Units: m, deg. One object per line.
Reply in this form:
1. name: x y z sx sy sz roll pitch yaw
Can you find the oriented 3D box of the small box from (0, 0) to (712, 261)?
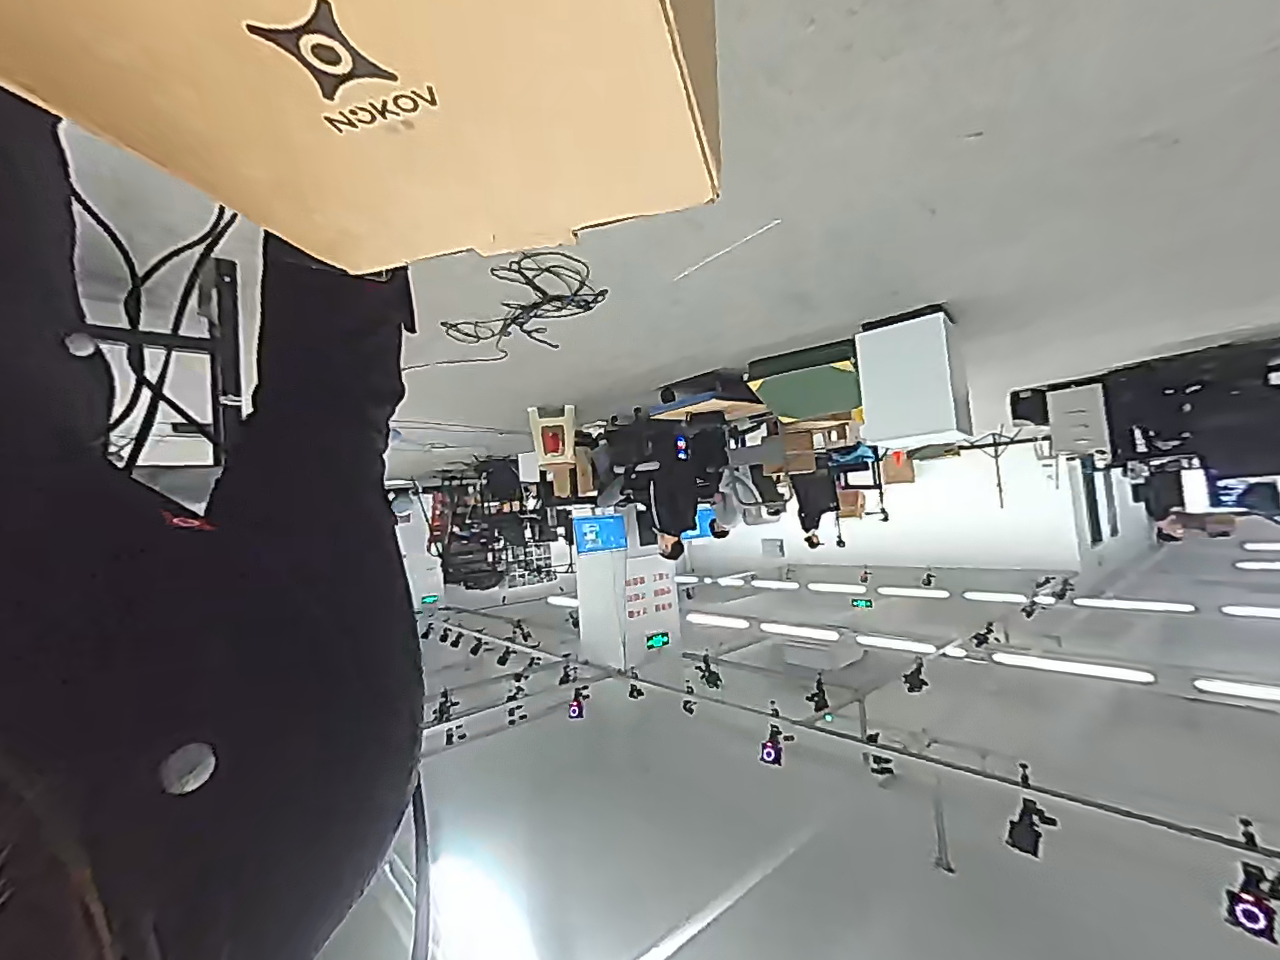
1. small box: -0.079 -0.190 0.144 0.168 0.176 0.179 -3 175 16
